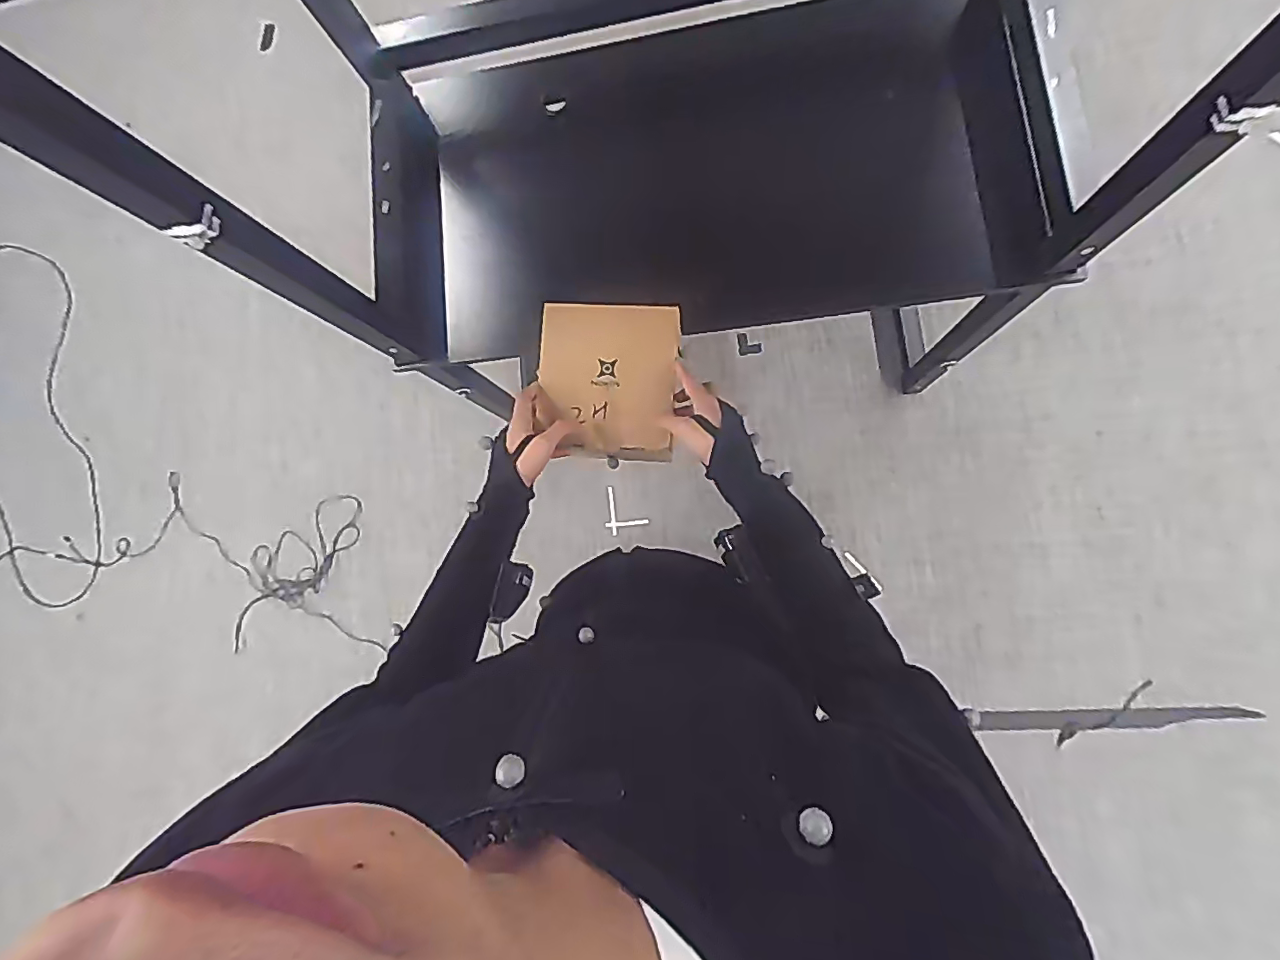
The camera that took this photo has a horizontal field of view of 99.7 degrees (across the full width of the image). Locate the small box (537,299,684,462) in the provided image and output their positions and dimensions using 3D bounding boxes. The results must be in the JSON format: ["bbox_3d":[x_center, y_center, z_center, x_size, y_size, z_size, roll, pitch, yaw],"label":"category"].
[{"bbox_3d":[-0.029,-0.123,0.721,0.168,0.176,0.179,4,88,6],"label":"small box"}]
